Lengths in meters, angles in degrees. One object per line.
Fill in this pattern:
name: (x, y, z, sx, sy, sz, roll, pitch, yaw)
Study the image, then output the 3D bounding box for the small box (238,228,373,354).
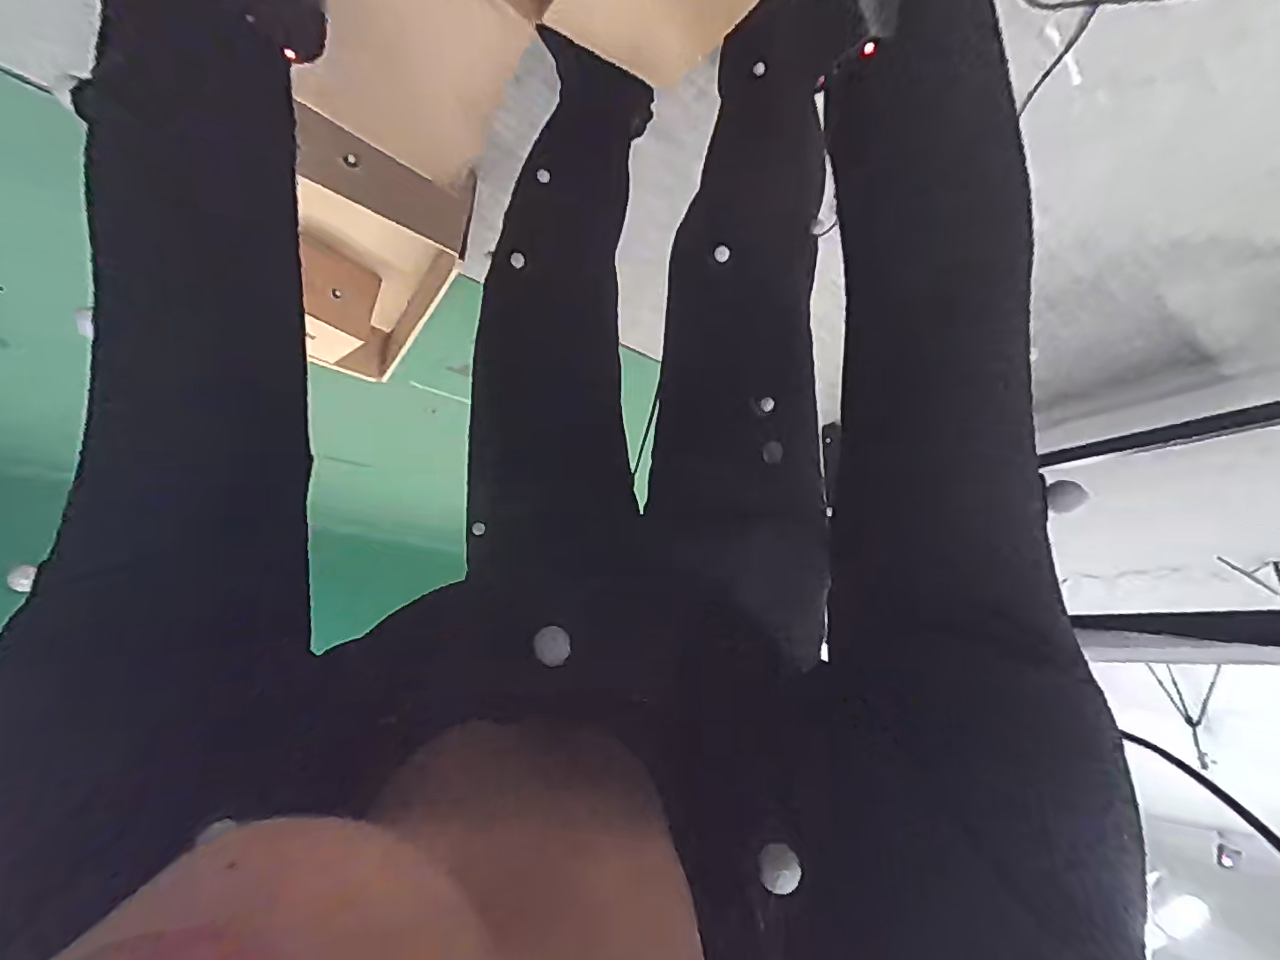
small box: (-0.704, -0.403, 1.151, 0.168, 0.176, 0.179, -11, 156, 36)
